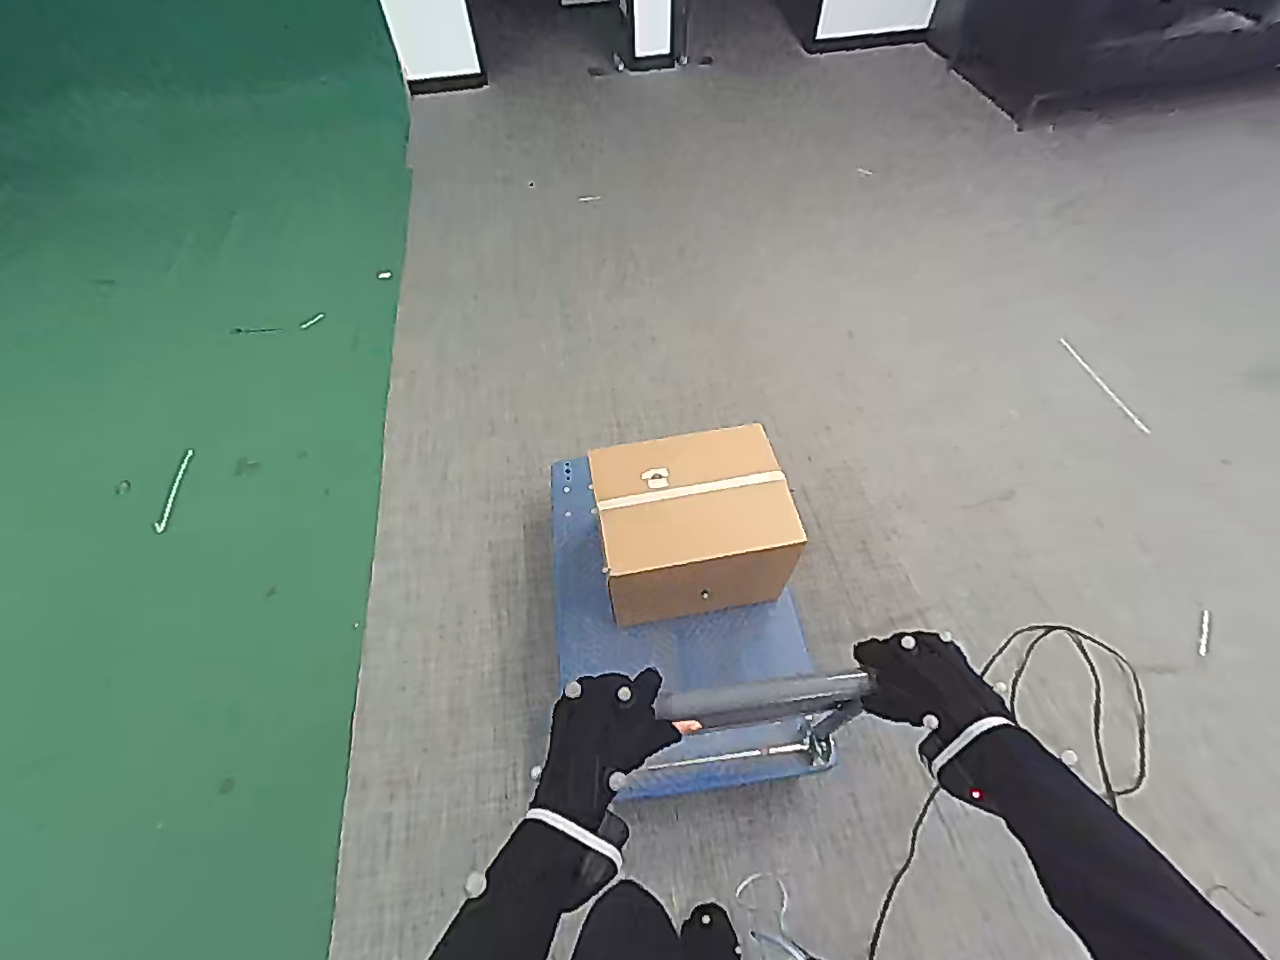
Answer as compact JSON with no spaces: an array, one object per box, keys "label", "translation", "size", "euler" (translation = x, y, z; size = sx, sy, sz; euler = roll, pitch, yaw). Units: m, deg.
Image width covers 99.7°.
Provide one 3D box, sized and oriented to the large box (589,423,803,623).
[{"label":"large box","translation":[0.116,0.111,1.282],"size":[0.408,0.320,0.320],"euler":[-11,57,-4]}]
